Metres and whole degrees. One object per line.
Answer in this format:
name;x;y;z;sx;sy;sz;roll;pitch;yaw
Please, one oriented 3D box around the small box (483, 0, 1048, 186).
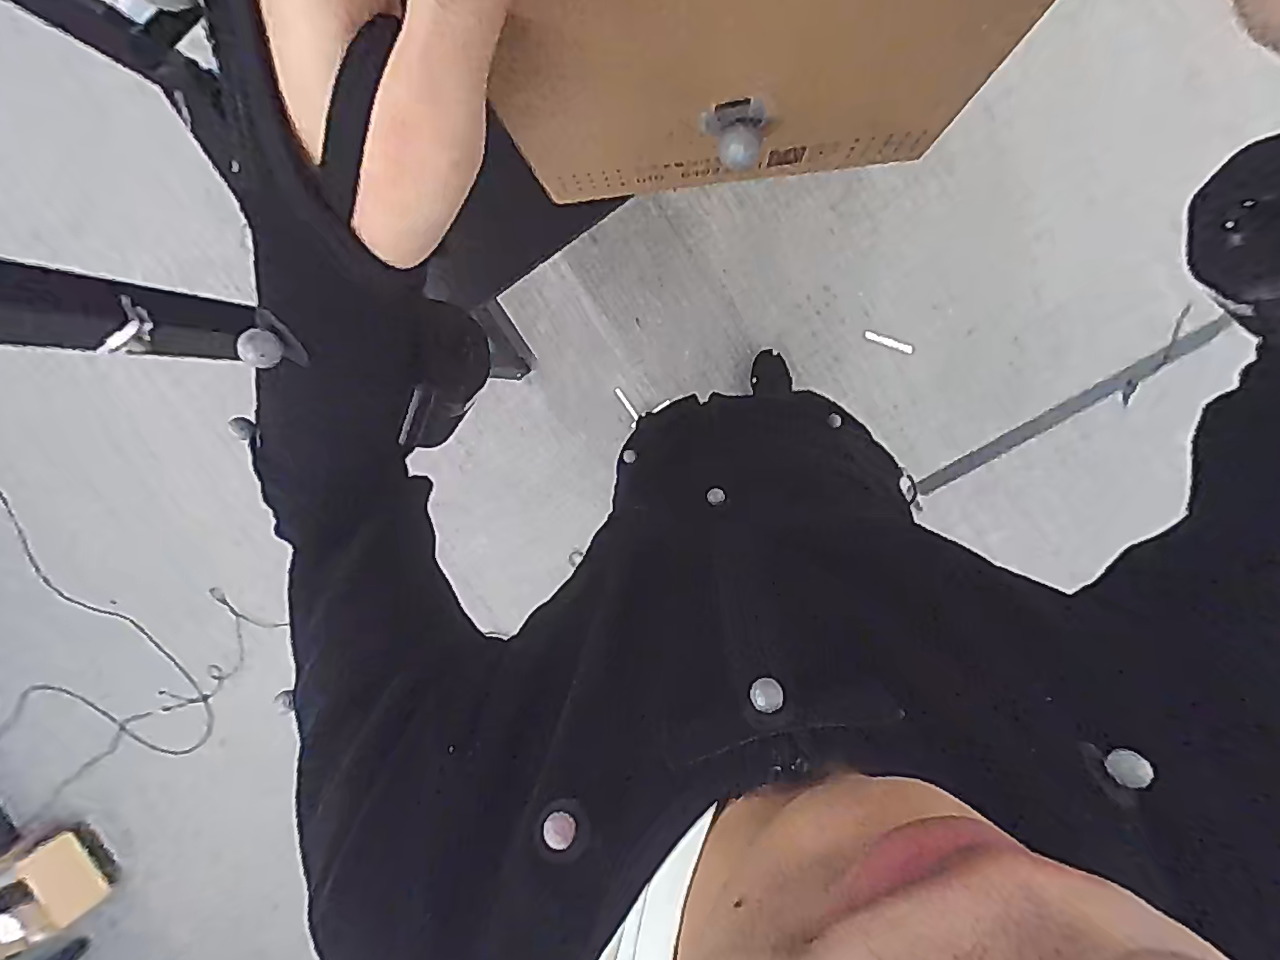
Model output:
small box;0.030;-0.214;0.150;0.168;0.176;0.179;-3;96;7
